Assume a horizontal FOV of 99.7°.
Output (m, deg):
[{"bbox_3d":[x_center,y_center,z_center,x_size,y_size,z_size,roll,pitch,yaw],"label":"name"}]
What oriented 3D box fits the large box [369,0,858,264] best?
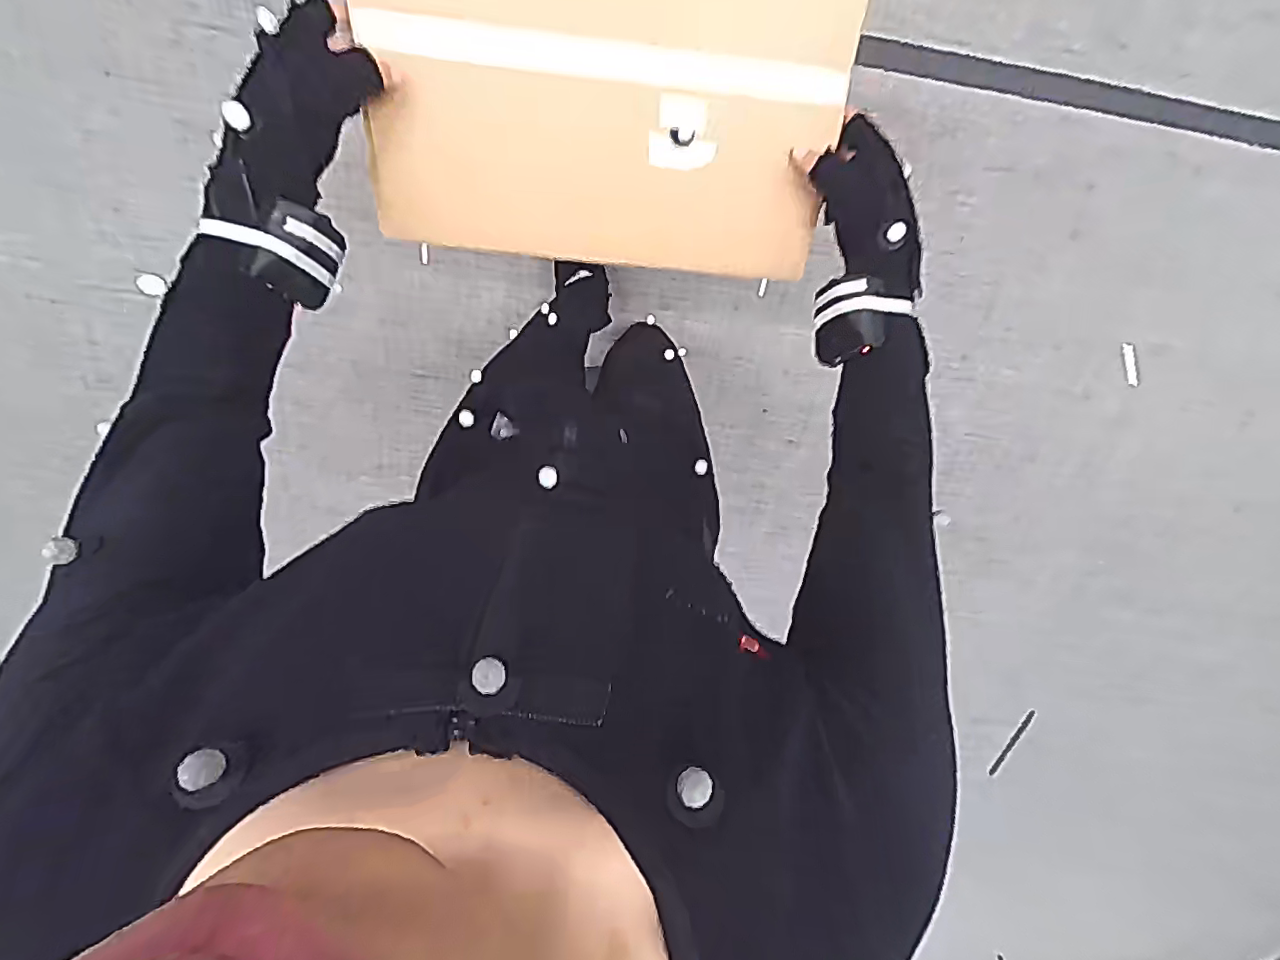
[{"bbox_3d":[-0.031,-0.436,0.584,0.408,0.320,0.320,3,122,-5],"label":"large box"}]
